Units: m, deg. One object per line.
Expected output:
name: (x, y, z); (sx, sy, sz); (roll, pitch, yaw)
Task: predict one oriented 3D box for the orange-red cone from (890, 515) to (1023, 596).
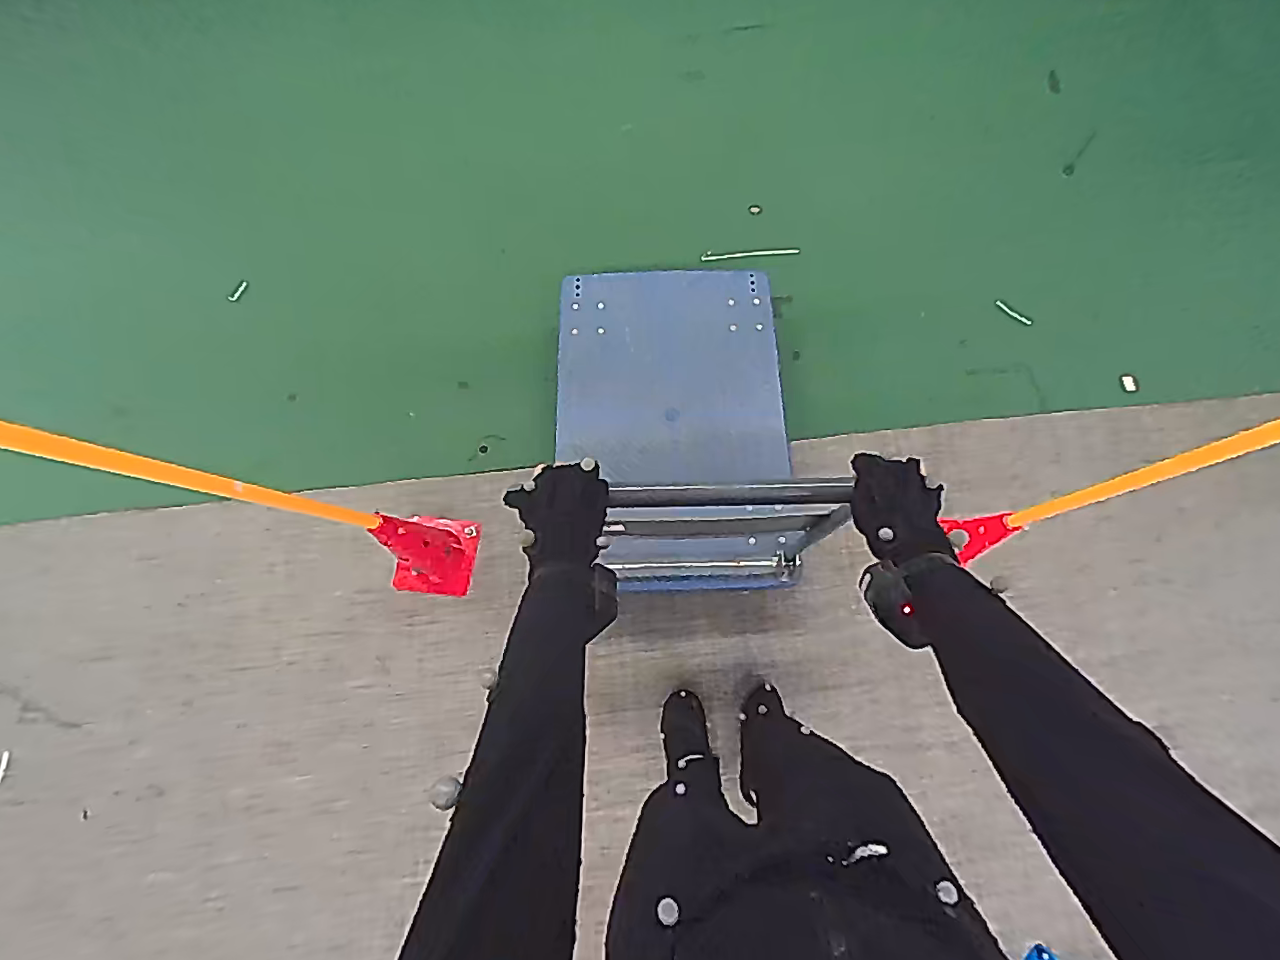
orange-red cone: (0.757, 0.145, 1.256); (0.198, 0.360, 0.199); (5, 72, 2)
